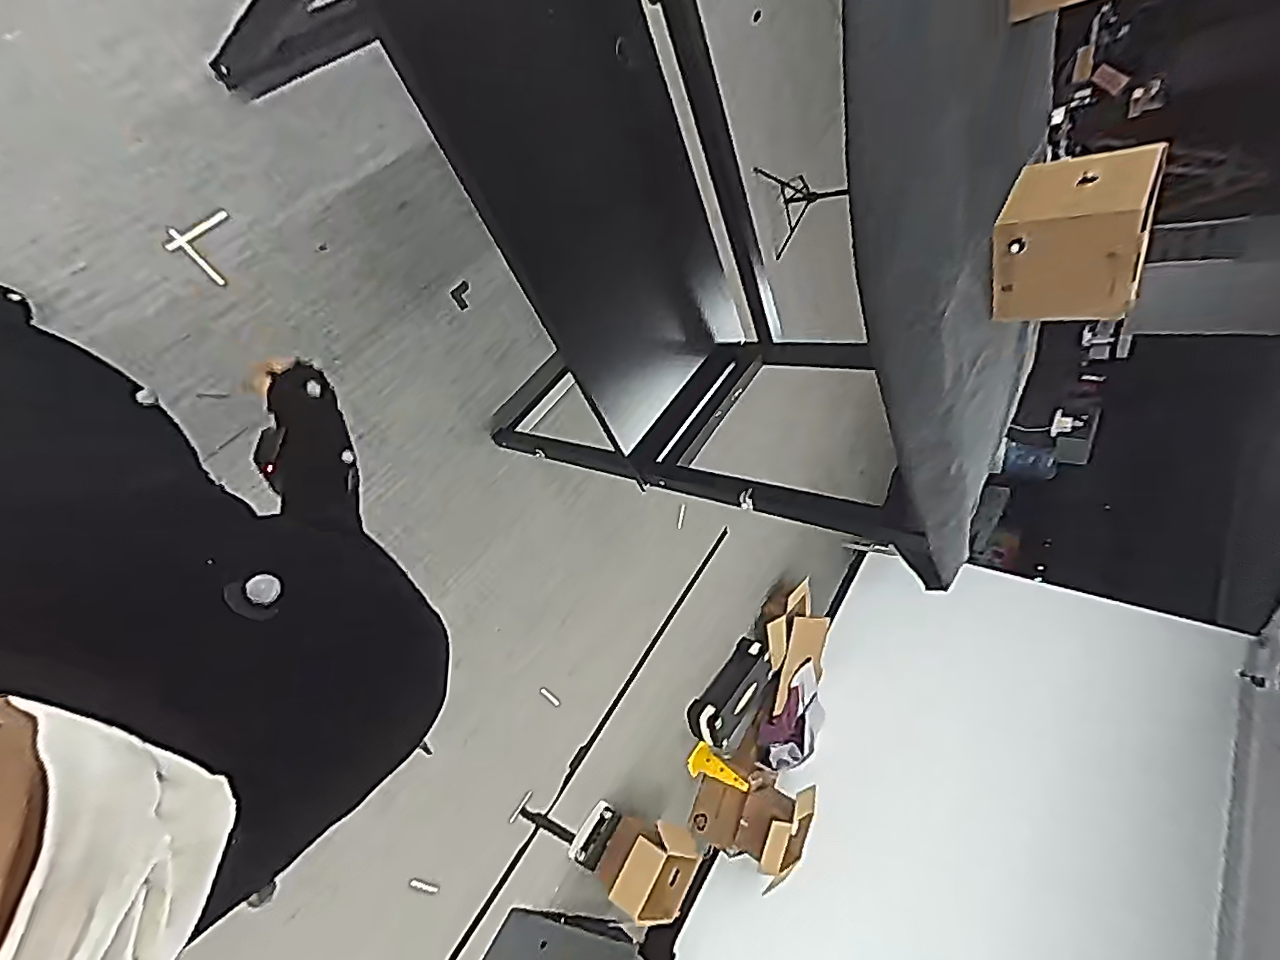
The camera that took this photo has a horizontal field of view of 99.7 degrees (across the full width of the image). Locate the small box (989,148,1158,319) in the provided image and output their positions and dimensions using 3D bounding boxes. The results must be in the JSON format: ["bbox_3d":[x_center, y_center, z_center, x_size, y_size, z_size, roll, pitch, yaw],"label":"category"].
[{"bbox_3d":[0.642,-0.358,0.815,0.179,0.176,0.168,-54,135,-24],"label":"small box"}]
